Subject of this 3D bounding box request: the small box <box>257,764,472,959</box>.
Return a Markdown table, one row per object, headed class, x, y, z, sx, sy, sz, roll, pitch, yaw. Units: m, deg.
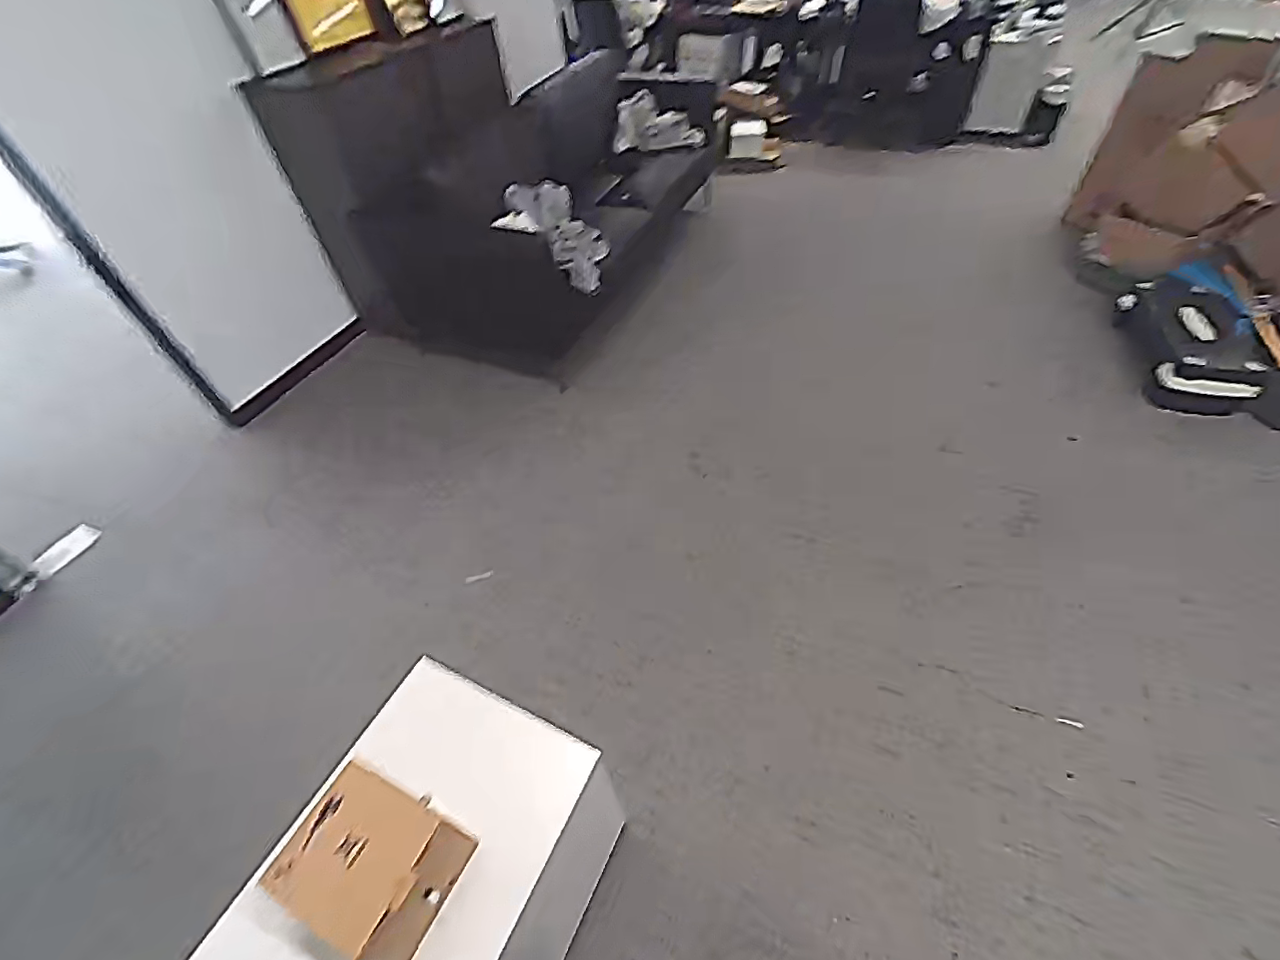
| class | x | y | z | sx | sy | sz | roll | pitch | yaw |
| --- | --- | --- | --- | --- | --- | --- | --- | --- | --- |
| small box | -0.365 | 0.533 | 0.756 | 0.179 | 0.176 | 0.168 | 16 | 52 | 18 |
